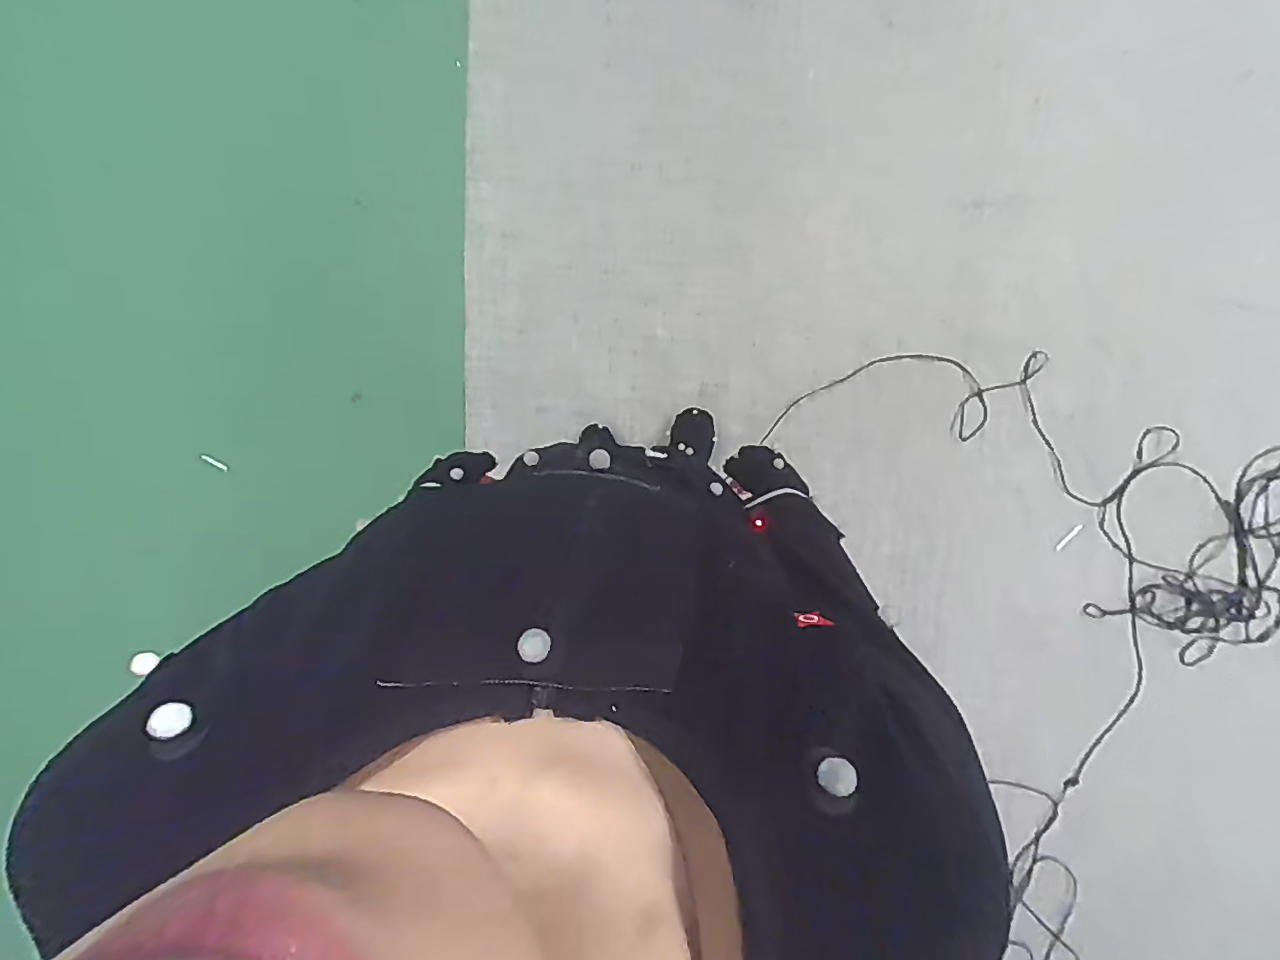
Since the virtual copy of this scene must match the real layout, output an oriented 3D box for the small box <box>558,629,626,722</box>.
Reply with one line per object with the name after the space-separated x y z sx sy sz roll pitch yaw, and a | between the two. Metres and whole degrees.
-0.125 0.525 1.466 0.168 0.176 0.179 4 96 0 | small box
